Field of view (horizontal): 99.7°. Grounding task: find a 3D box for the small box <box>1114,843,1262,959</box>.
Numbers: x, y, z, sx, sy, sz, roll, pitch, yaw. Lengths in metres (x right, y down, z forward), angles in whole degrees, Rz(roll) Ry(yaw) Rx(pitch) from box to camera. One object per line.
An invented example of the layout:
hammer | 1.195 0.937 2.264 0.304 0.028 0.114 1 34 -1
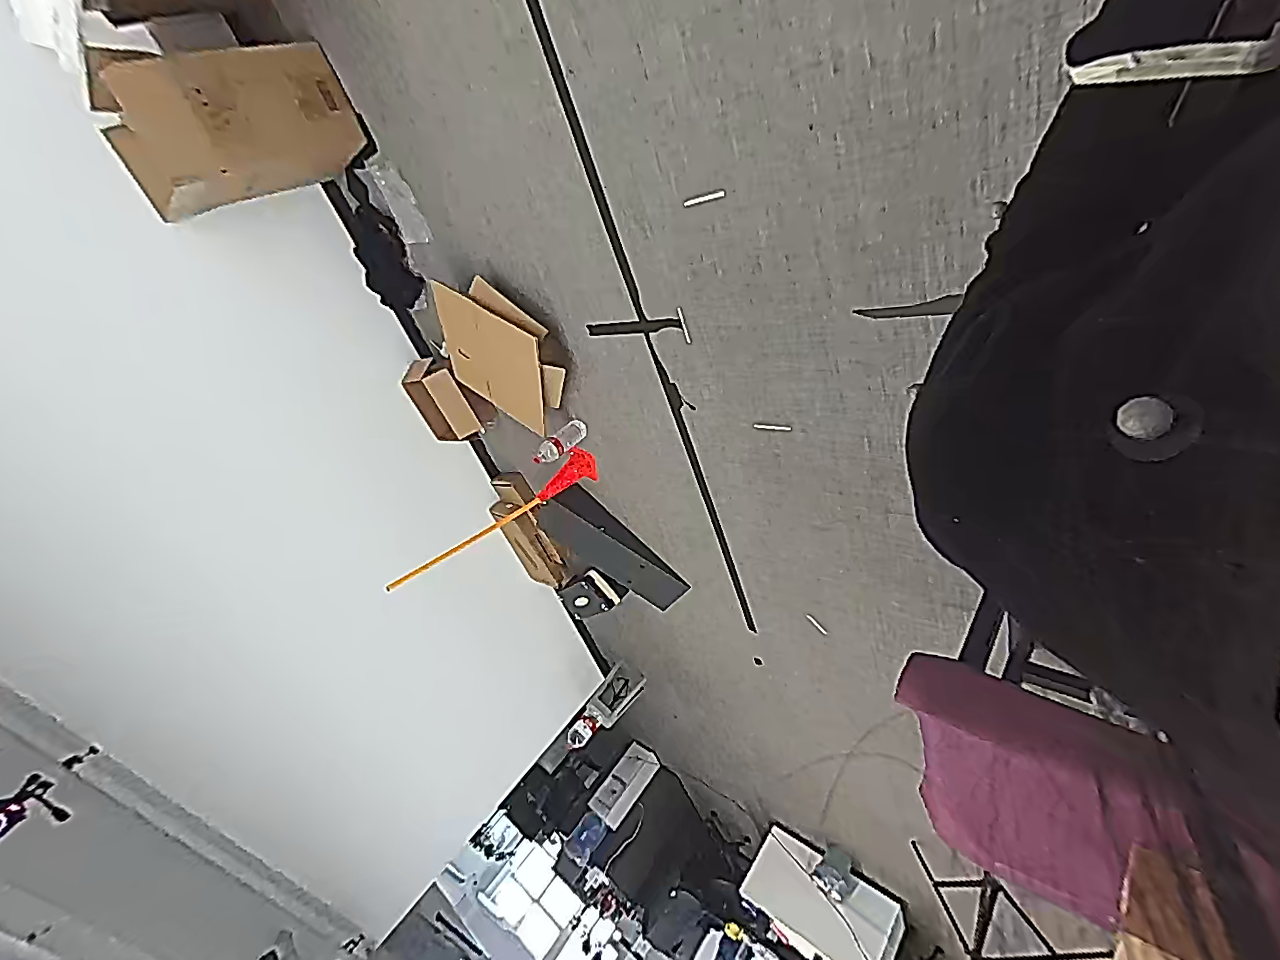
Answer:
small box | 0.992 0.814 0.984 0.168 0.176 0.179 11 134 44
